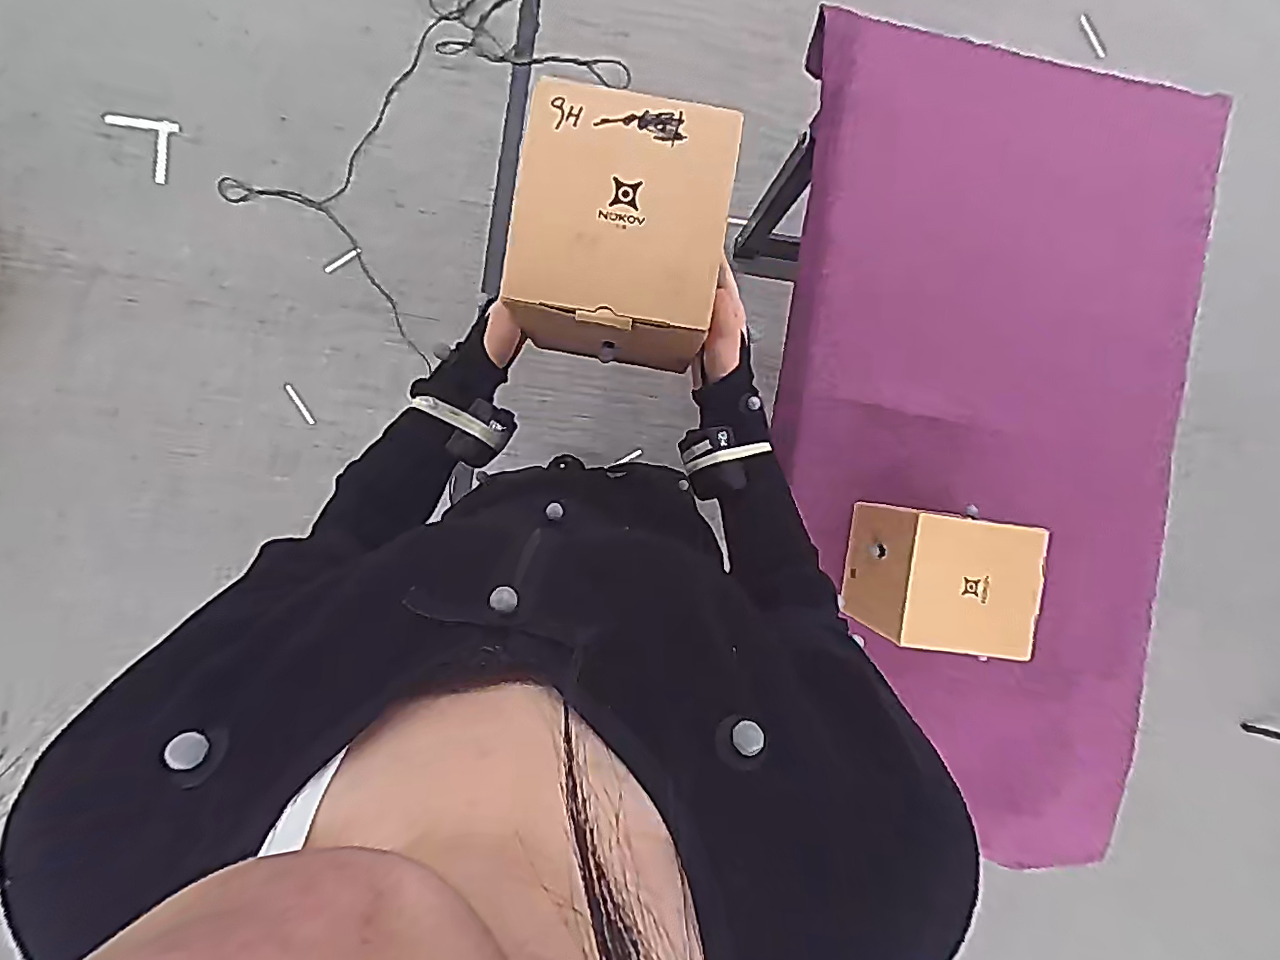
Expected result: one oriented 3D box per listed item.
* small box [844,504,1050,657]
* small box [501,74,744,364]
[{"bbox_3d":[0.404,0.127,0.741,0.179,0.176,0.168,8,91,-6],"label":"small box"},{"bbox_3d":[-0.015,-0.213,0.494,0.168,0.176,0.179,9,92,-2],"label":"small box"}]
